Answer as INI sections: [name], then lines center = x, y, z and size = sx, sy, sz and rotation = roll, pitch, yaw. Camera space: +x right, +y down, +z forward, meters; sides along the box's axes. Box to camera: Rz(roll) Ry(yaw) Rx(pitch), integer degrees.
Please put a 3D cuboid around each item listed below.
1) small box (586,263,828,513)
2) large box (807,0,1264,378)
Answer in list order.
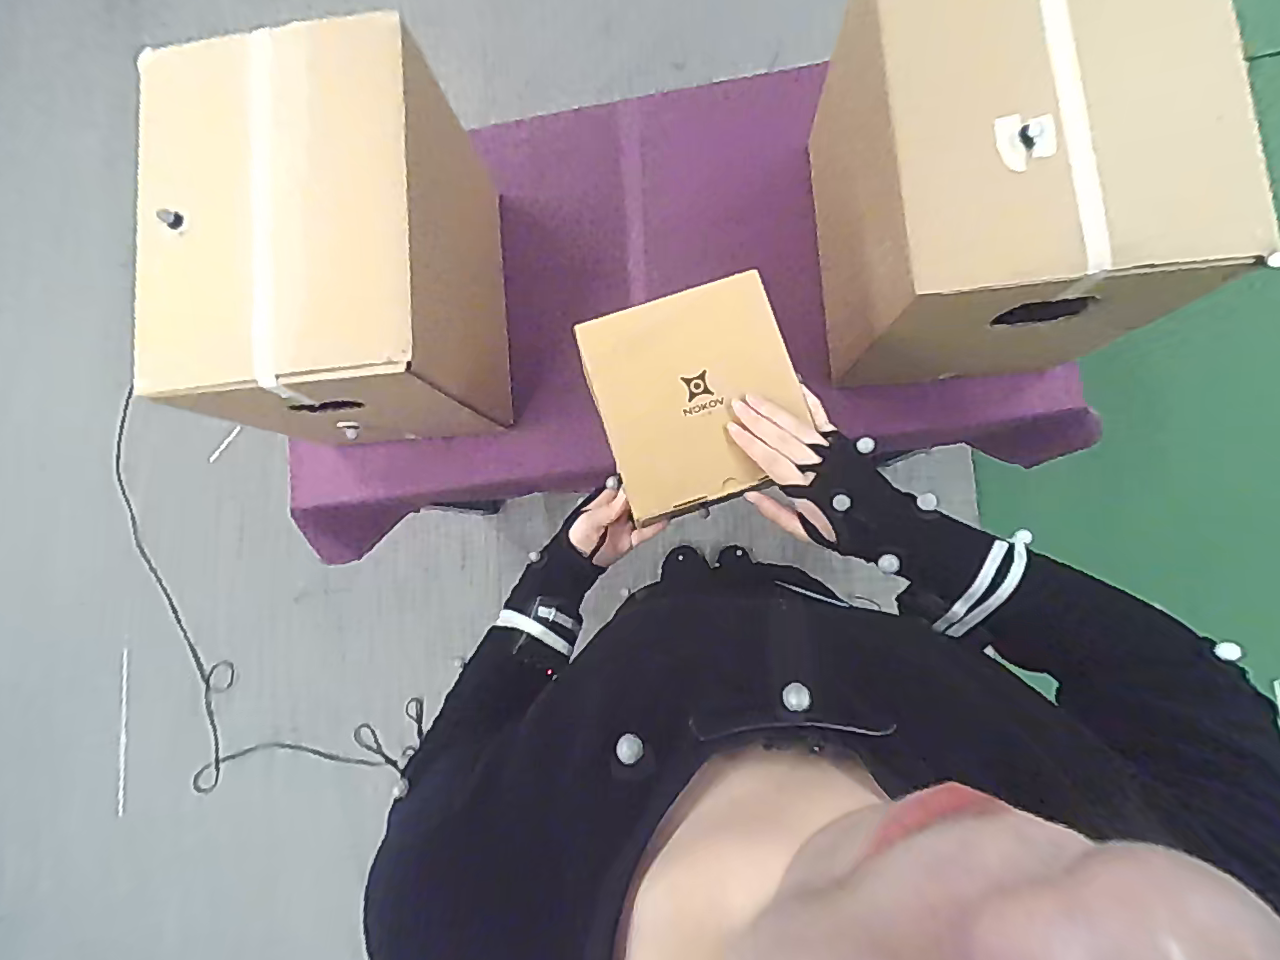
[small box]
center = 0.051, -0.075, 0.531
size = 0.168, 0.176, 0.179
rotation = -17, 84, -3
[large box]
center = 0.414, -0.372, 0.669
size = 0.320, 0.320, 0.408
rotation = -4, 84, 5
